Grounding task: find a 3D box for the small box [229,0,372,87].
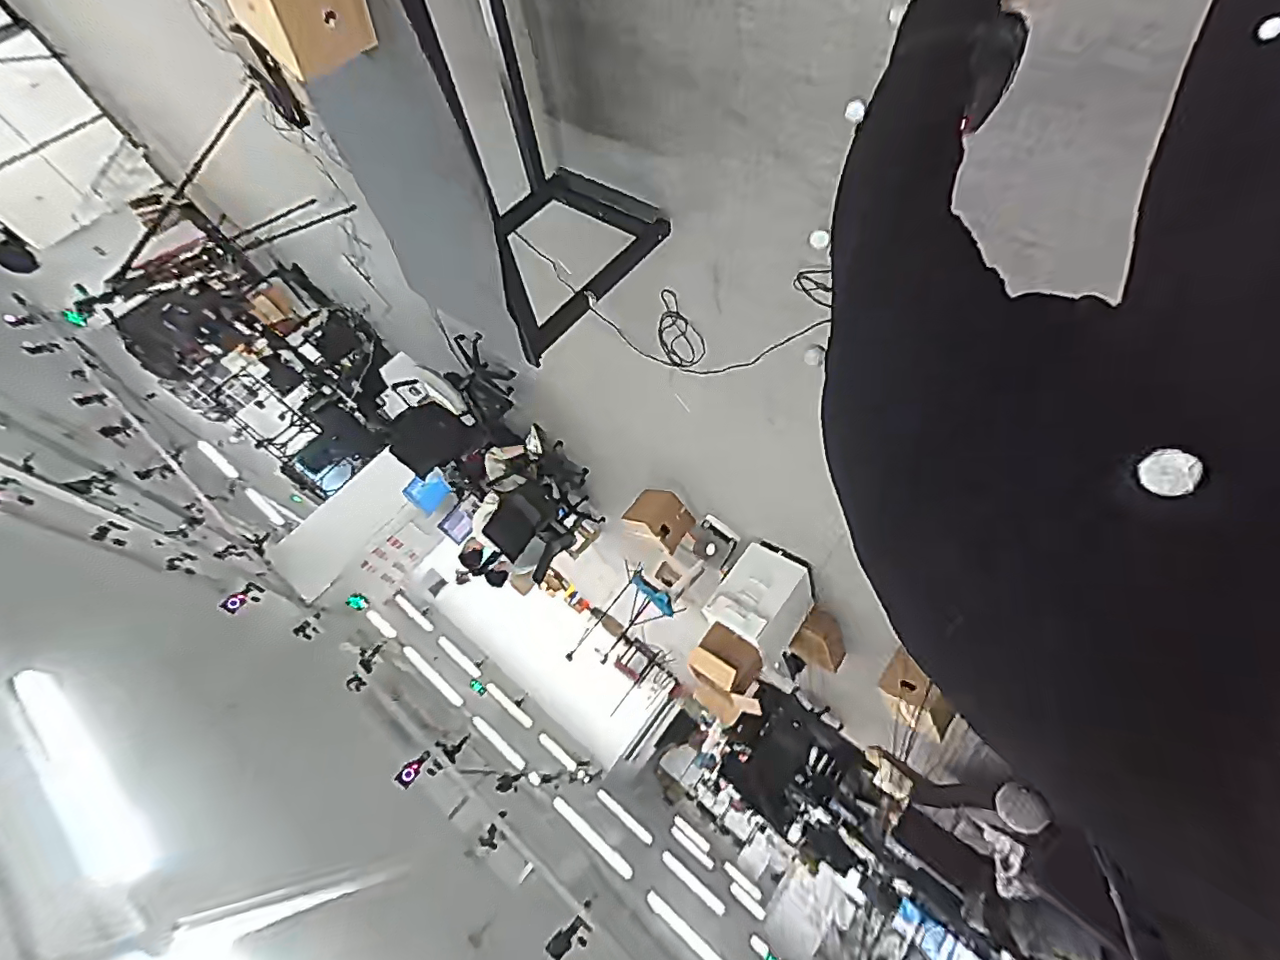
[{"bbox_3d":[-0.593,-0.843,0.930,0.179,0.176,0.168,43,161,2],"label":"small box"}]
